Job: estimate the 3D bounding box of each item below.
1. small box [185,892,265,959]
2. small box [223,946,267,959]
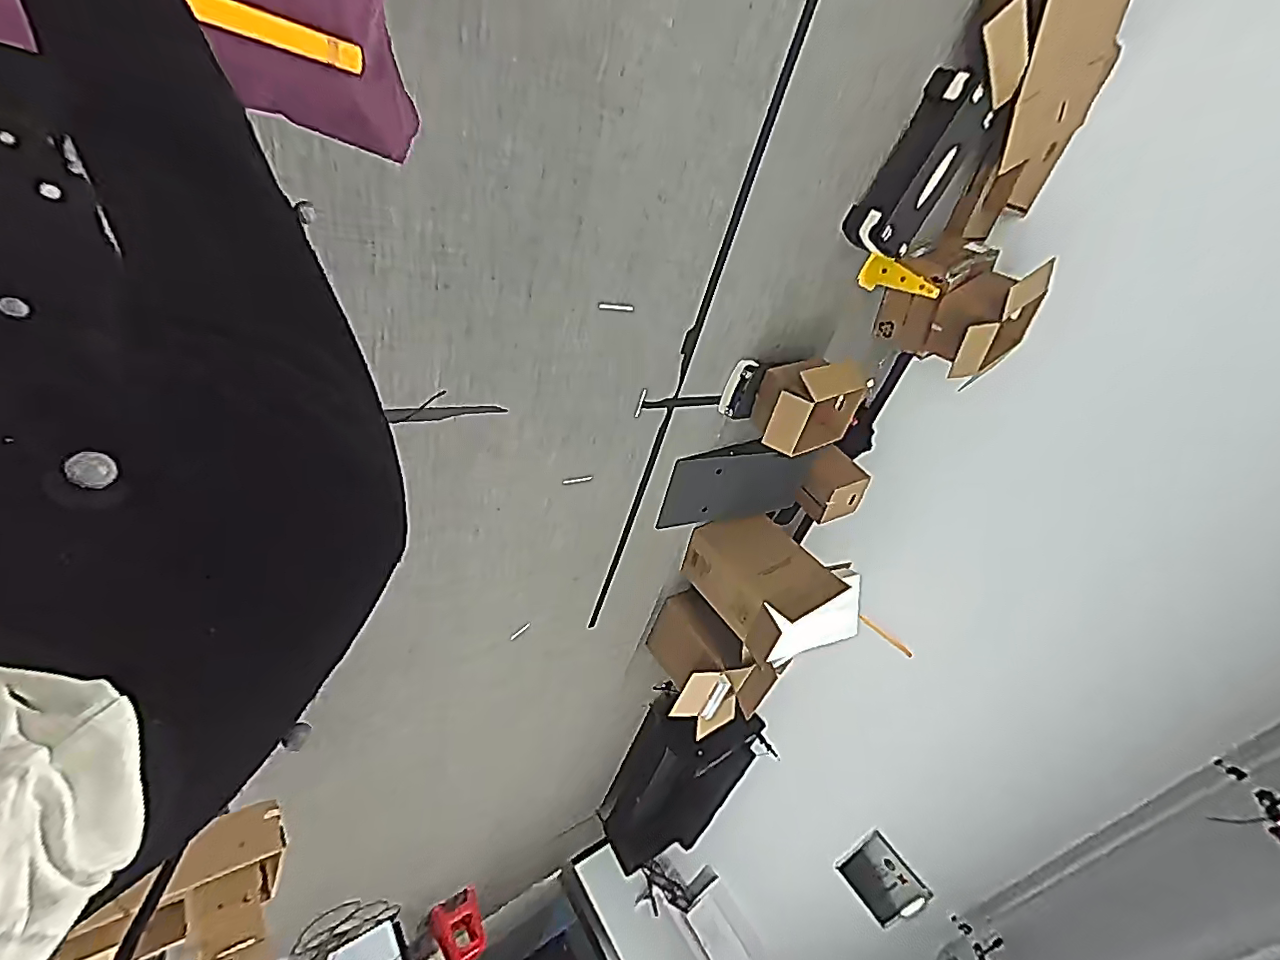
[{"bbox_3d":[-1.333,1.470,1.728,0.168,0.176,0.179,8,122,-48],"label":"small box"},{"bbox_3d":[-1.239,1.564,1.631,0.168,0.176,0.179,13,117,-50],"label":"small box"}]
